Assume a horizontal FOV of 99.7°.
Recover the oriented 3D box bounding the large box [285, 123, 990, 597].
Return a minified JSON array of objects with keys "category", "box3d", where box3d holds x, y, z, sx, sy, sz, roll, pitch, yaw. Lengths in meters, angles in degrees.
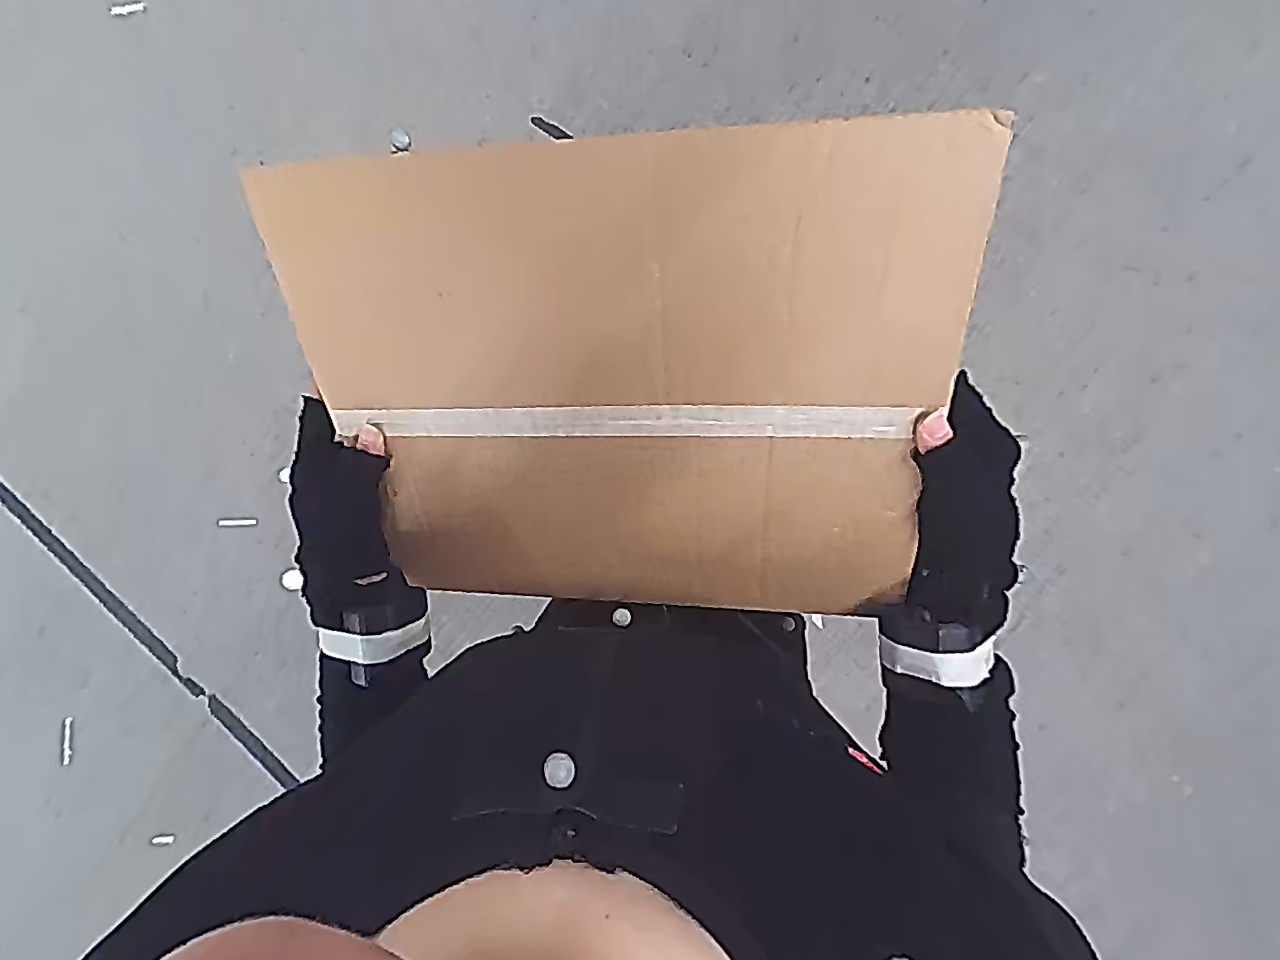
[{"category":"large box","box3d":[0.007,-0.119,0.496,0.408,0.320,0.320,2,122,9]}]
